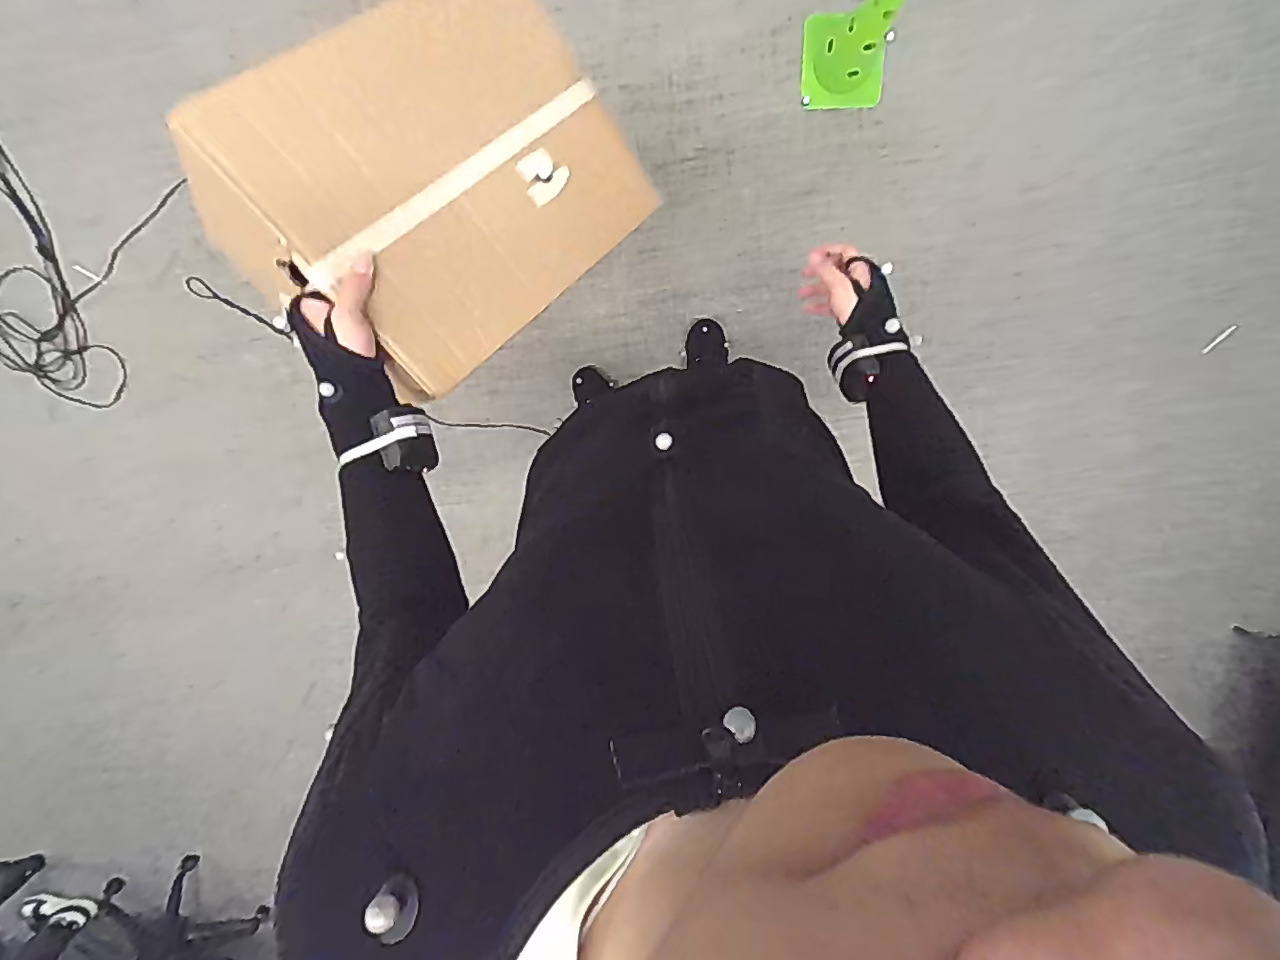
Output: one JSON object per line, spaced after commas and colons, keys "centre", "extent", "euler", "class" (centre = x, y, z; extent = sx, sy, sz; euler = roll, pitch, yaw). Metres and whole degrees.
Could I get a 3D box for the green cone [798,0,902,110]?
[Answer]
{"centre": [0.491, -0.983, 1.167], "extent": [0.200, 0.368, 0.202], "euler": [-2, 106, 1], "class": "green cone"}
